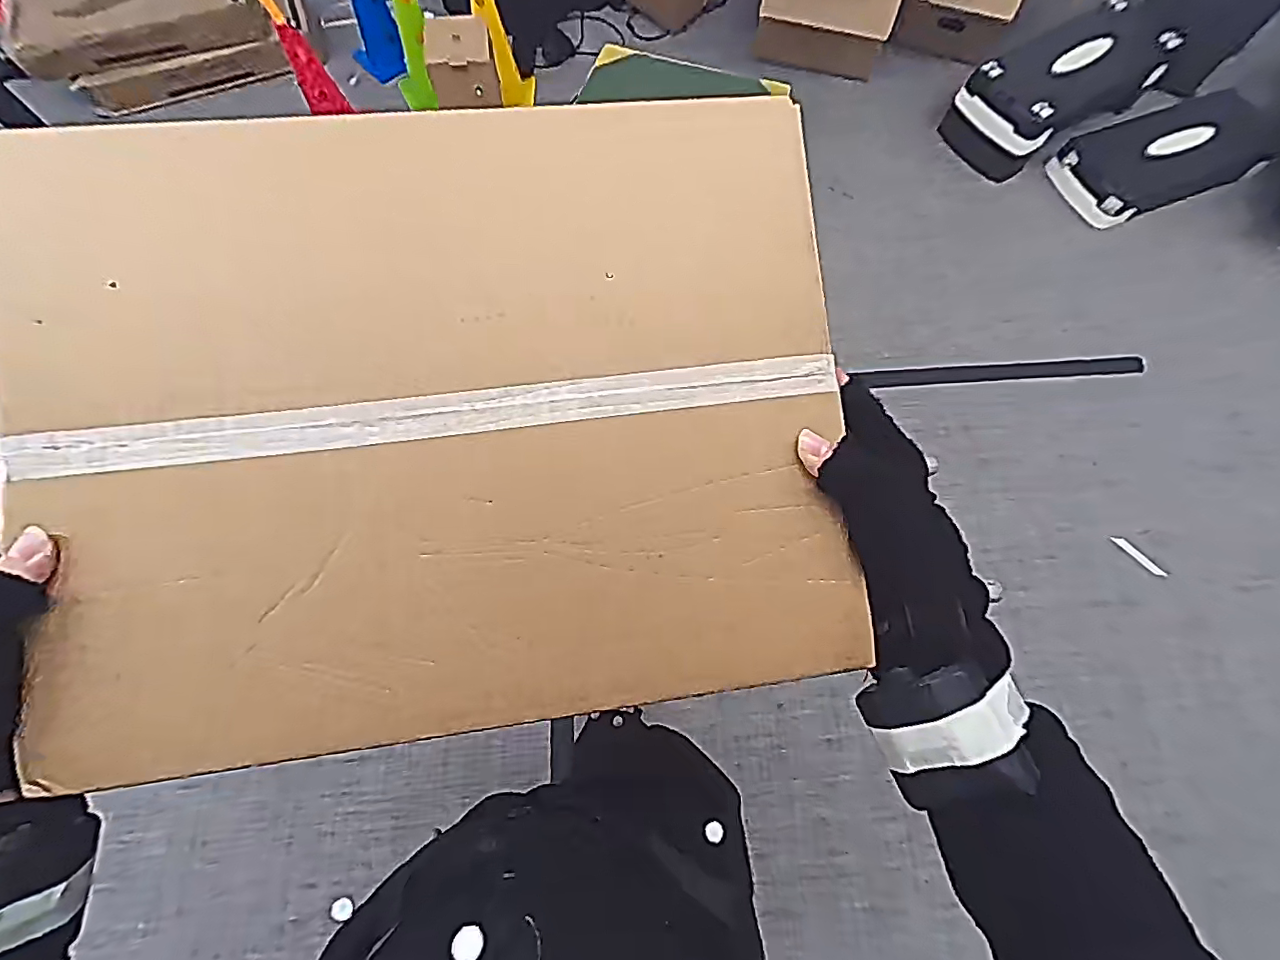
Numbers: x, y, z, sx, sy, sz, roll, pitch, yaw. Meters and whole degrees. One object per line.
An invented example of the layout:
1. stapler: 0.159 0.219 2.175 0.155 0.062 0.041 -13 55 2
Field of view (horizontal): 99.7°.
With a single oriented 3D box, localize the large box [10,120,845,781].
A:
1. large box: -0.112 -0.024 0.430 0.408 0.320 0.320 -6 87 -6
